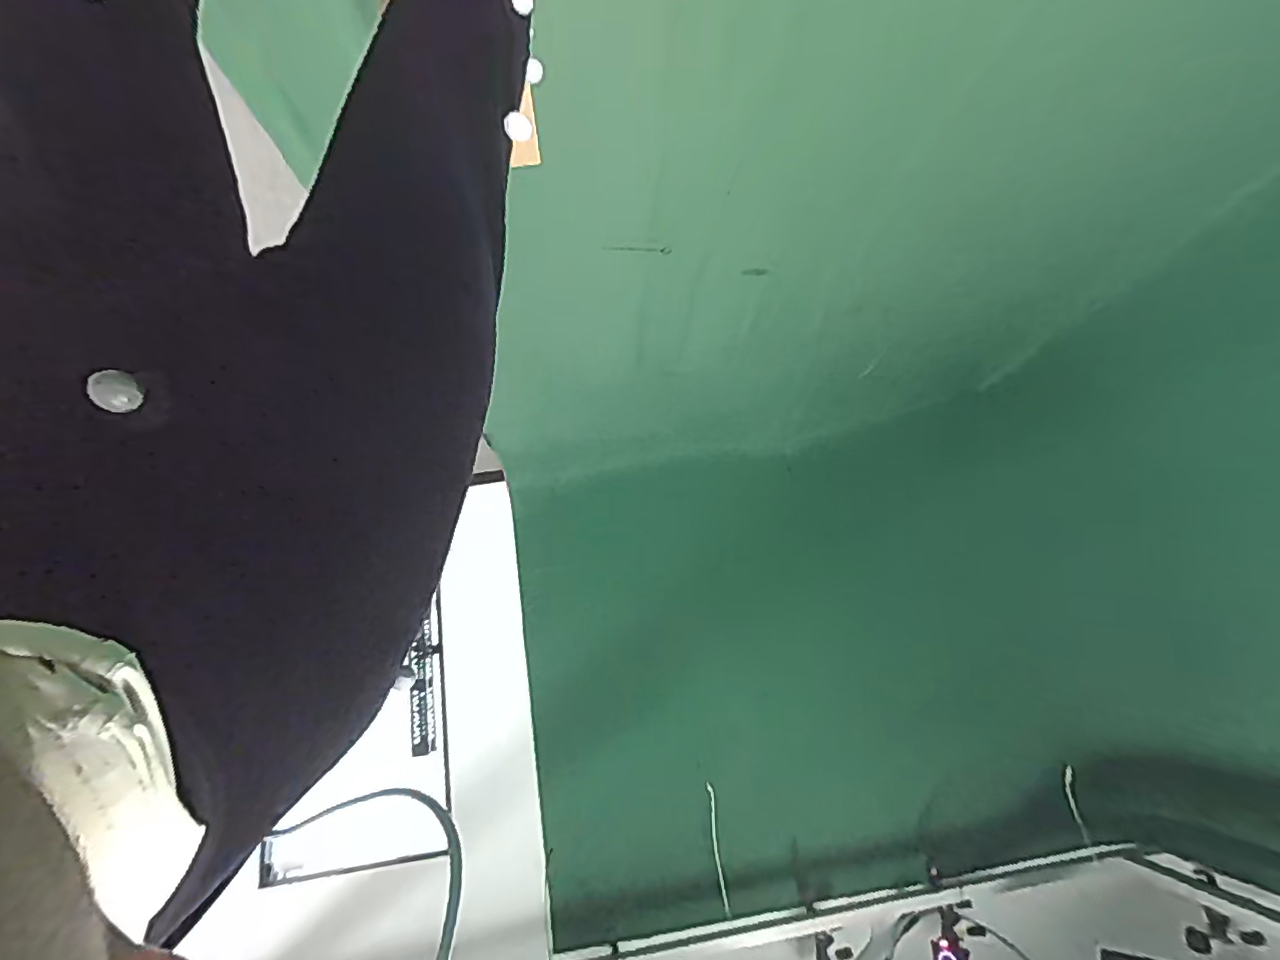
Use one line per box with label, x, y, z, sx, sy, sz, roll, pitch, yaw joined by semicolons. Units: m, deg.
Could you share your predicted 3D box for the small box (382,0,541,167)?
small box;-0.240;-0.568;0.744;0.179;0.176;0.168;-7;163;-6
